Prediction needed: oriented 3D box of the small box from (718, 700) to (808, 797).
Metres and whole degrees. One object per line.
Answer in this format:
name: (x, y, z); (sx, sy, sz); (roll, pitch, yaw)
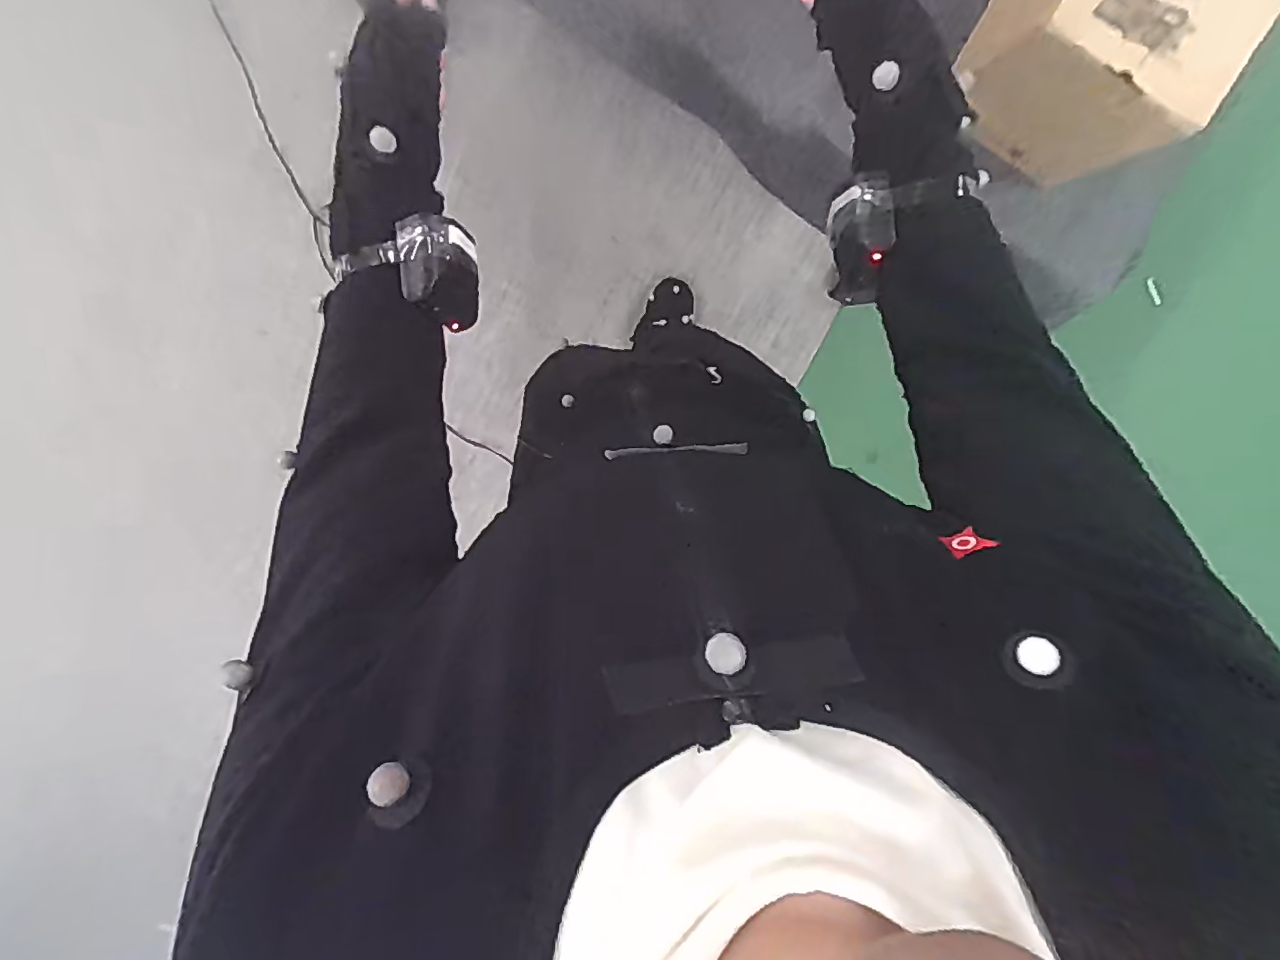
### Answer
small box: (0.358, 0.788, 1.604); (0.179, 0.176, 0.168); (28, 102, -11)

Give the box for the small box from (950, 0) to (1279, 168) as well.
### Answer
small box: (0.425, -0.423, 0.490); (0.168, 0.176, 0.179); (26, 102, -10)
